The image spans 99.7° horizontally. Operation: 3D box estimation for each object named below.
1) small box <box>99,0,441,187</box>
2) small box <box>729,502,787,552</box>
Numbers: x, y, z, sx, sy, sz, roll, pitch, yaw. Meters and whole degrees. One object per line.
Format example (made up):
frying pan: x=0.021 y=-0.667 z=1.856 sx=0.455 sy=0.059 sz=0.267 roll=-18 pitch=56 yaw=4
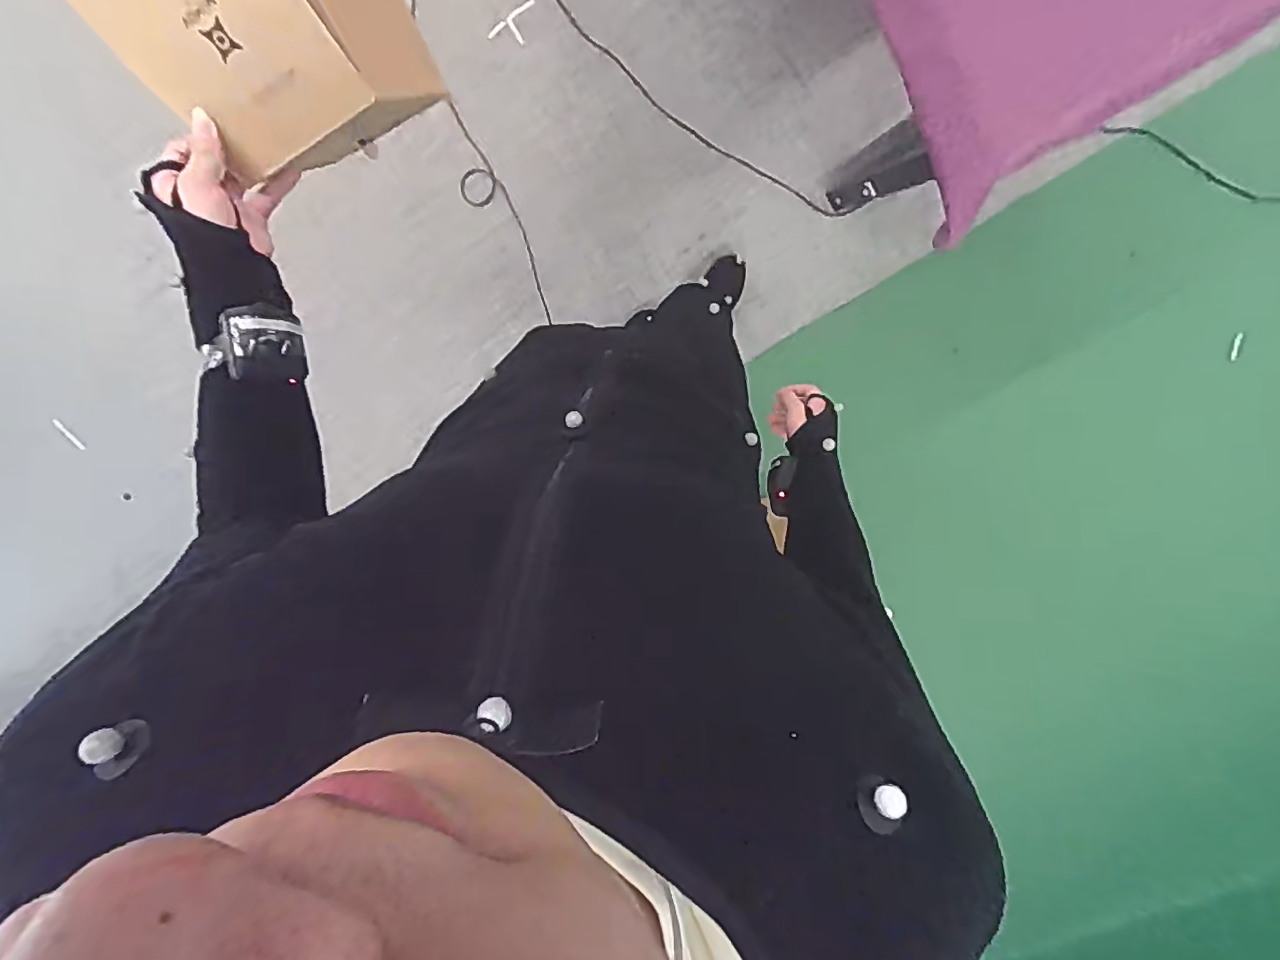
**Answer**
small box: x=-0.323 y=-0.404 z=0.499 sx=0.168 sy=0.176 sz=0.179 roll=-16 pitch=123 yaw=19
small box: x=0.390 y=0.187 z=1.659 sx=0.168 sy=0.176 sz=0.179 roll=-31 pitch=108 yaw=12
